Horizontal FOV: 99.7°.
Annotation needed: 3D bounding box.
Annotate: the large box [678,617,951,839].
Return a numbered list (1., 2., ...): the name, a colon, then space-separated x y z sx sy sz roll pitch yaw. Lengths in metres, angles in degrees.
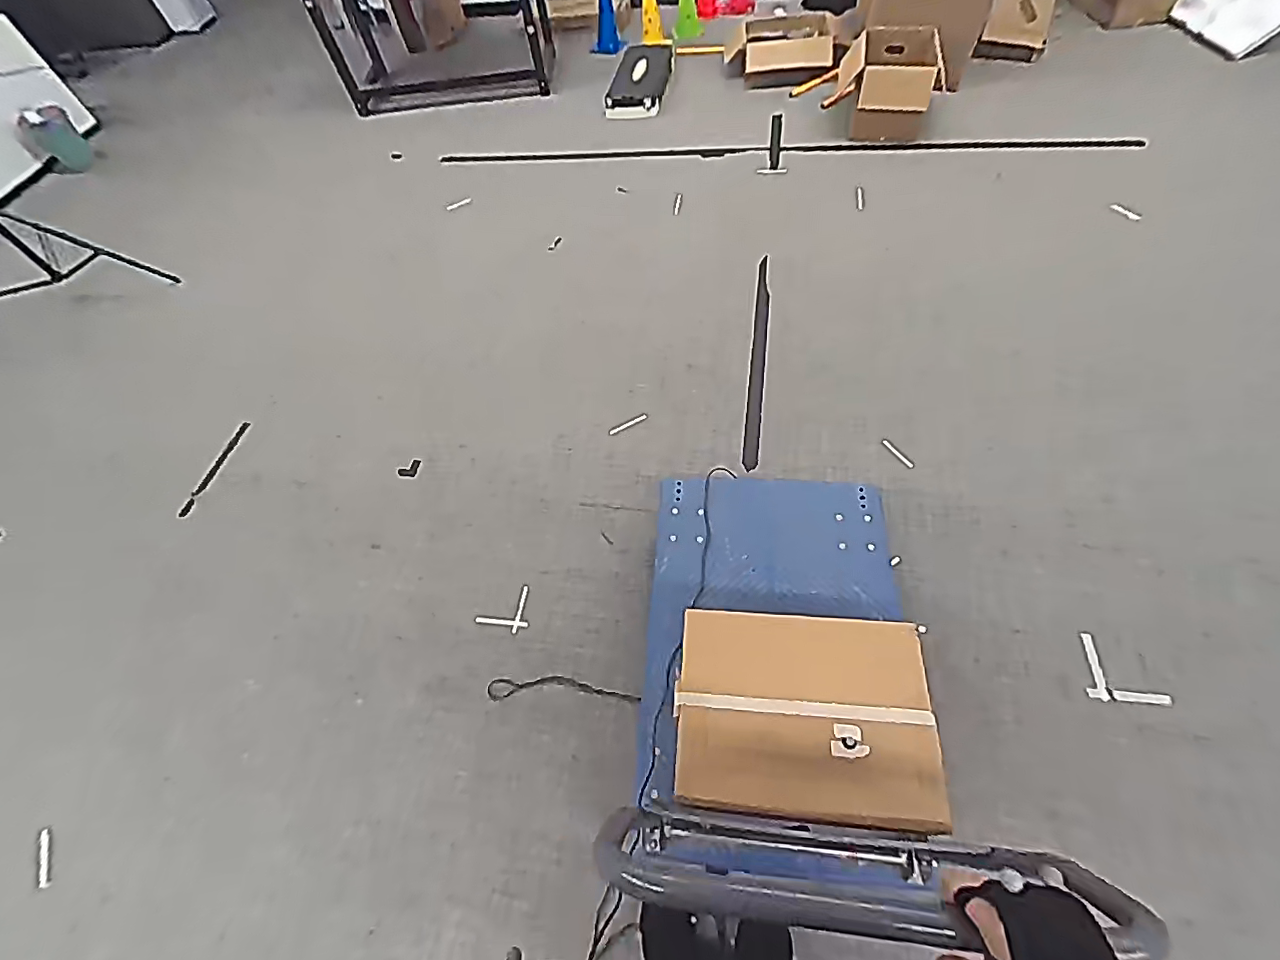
1. large box: 0.276 0.462 1.003 0.408 0.320 0.320 2 58 7
